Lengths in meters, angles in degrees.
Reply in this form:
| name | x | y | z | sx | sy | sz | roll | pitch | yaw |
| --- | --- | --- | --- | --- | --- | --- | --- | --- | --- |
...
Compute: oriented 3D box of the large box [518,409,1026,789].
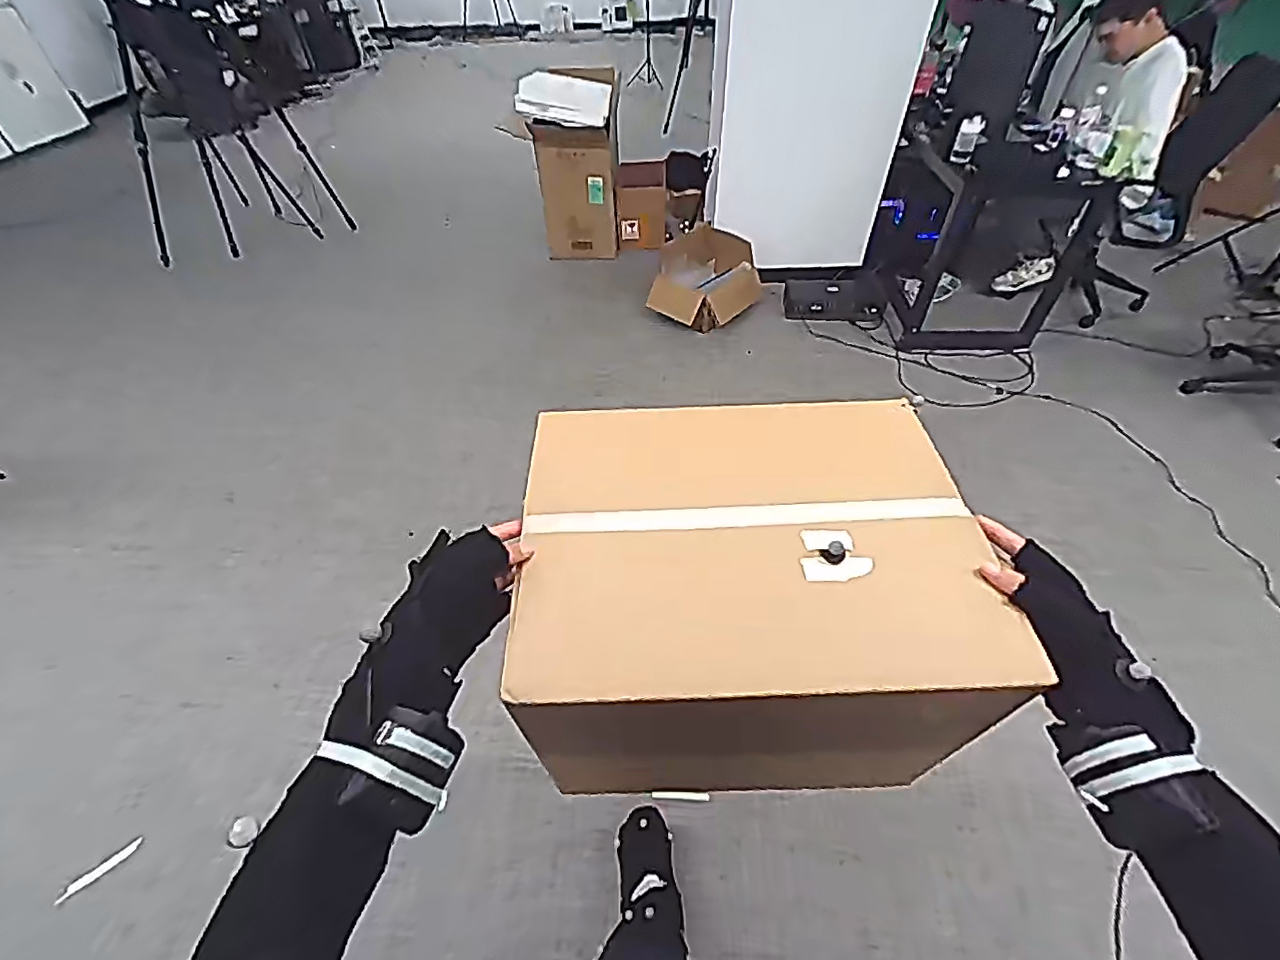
| name | x | y | z | sx | sy | sz | roll | pitch | yaw |
| --- | --- | --- | --- | --- | --- | --- | --- | --- | --- |
| large box | 0.098 | 0.140 | 0.622 | 0.408 | 0.320 | 0.320 | -2 | 49 | 0 |
